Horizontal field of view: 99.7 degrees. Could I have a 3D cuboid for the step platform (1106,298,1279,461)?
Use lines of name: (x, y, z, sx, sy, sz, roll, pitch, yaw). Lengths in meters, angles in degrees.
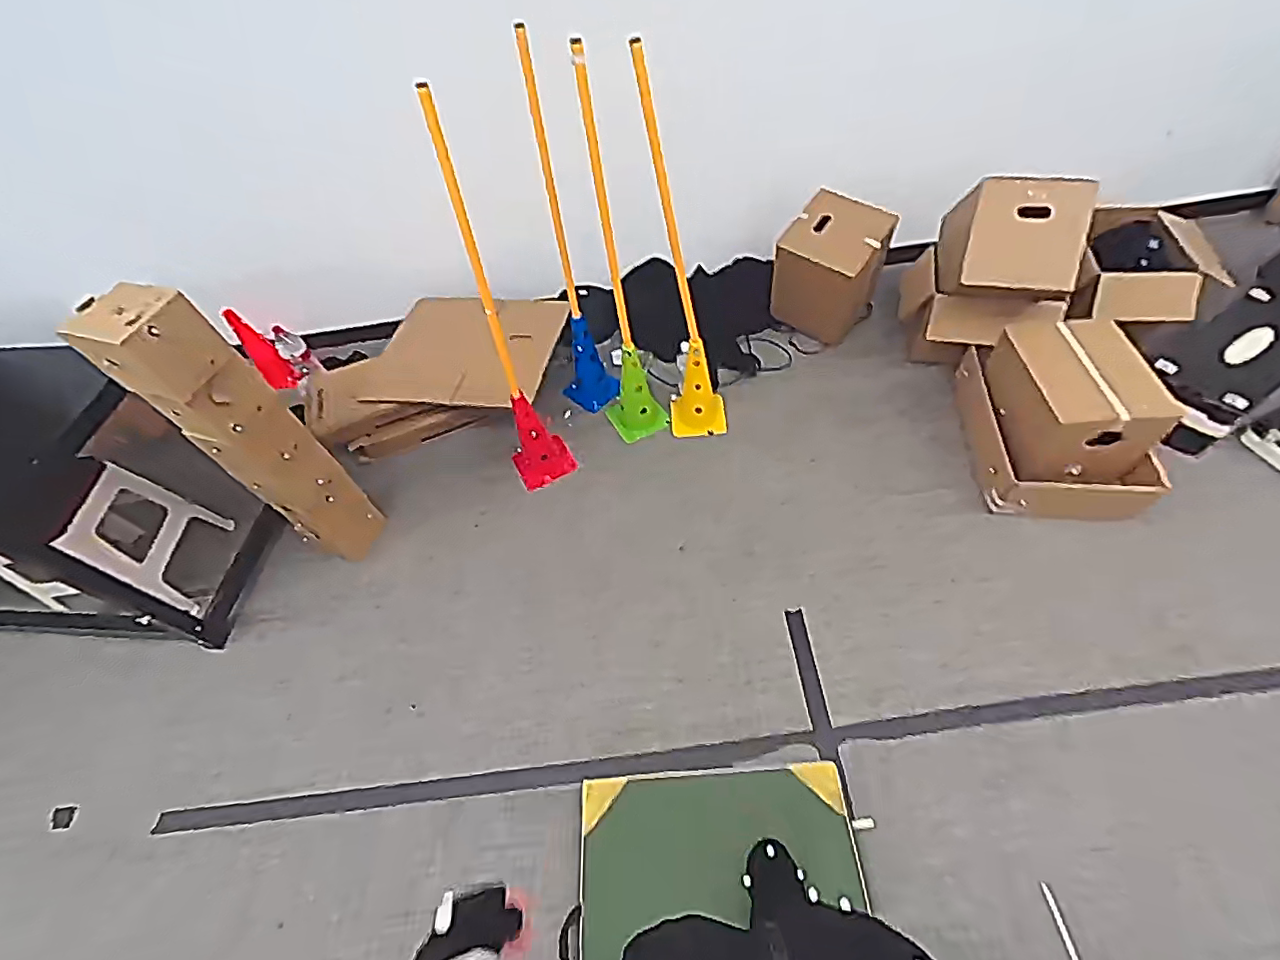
step platform: (1.939, -0.351, 1.813, 0.684, 0.204, 0.286, -31, 56, -14)
